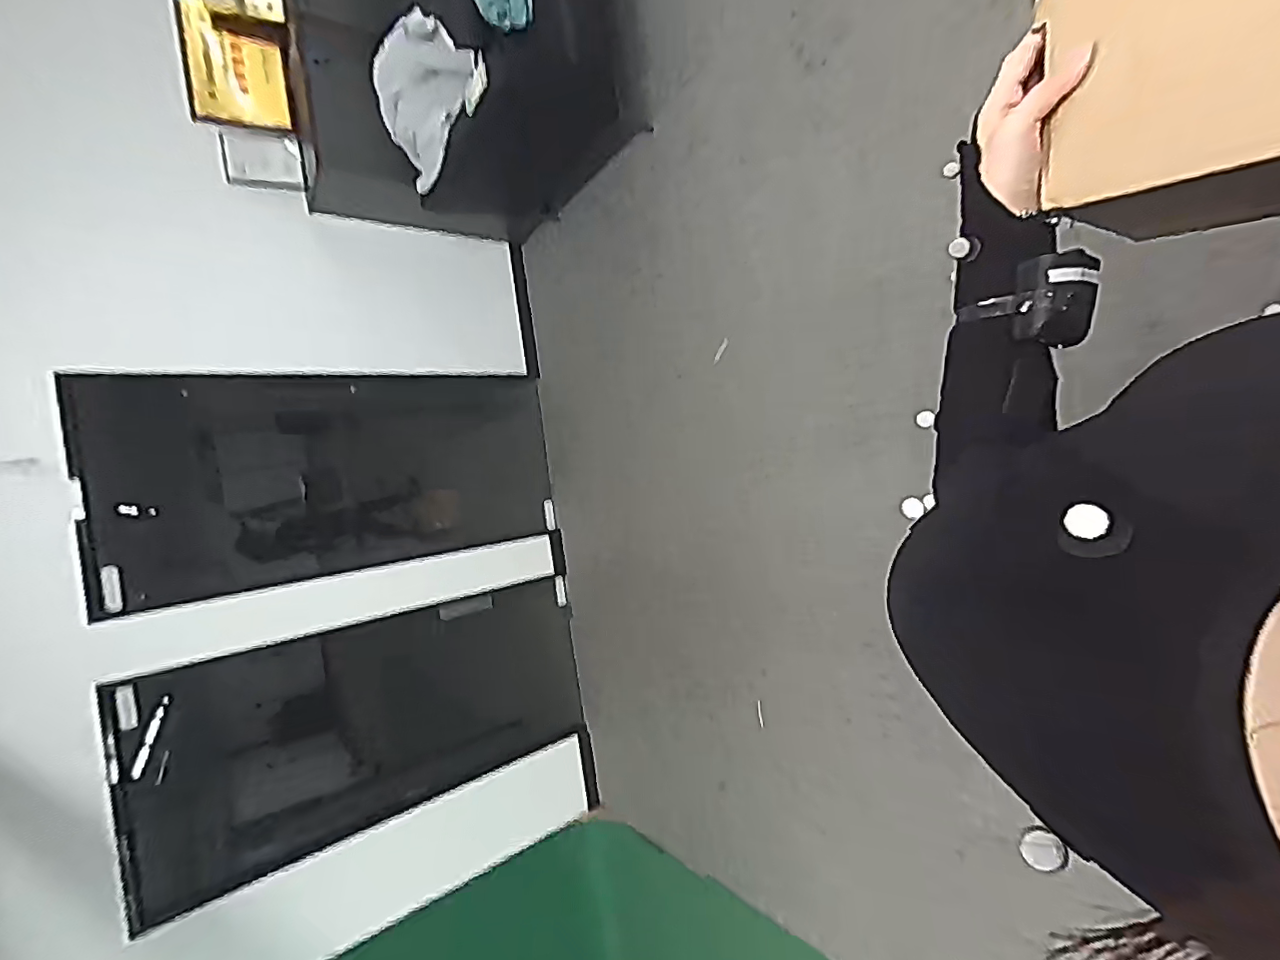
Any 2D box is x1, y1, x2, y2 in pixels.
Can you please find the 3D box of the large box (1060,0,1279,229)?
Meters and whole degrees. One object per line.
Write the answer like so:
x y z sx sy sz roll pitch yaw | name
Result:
0.536 -0.377 0.319 0.408 0.320 0.320 7 107 50 | large box
